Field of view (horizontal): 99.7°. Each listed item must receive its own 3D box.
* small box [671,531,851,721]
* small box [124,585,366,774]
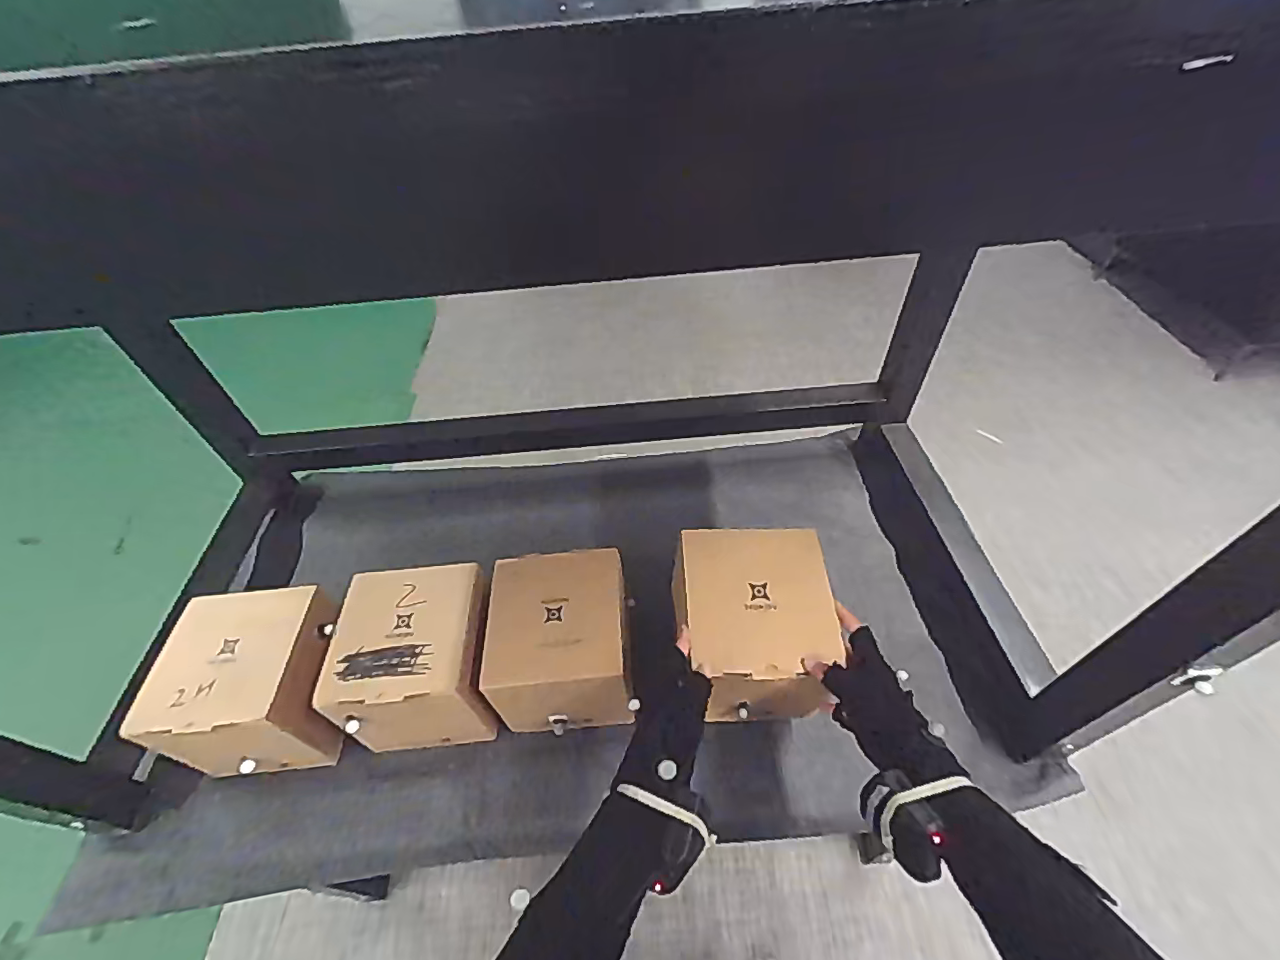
[{"bbox_3d":[0.129,0.180,0.661,0.168,0.176,0.179,0,52,-2],"label":"small box"},{"bbox_3d":[-0.487,0.261,0.707,0.168,0.176,0.179,-6,47,0],"label":"small box"}]
